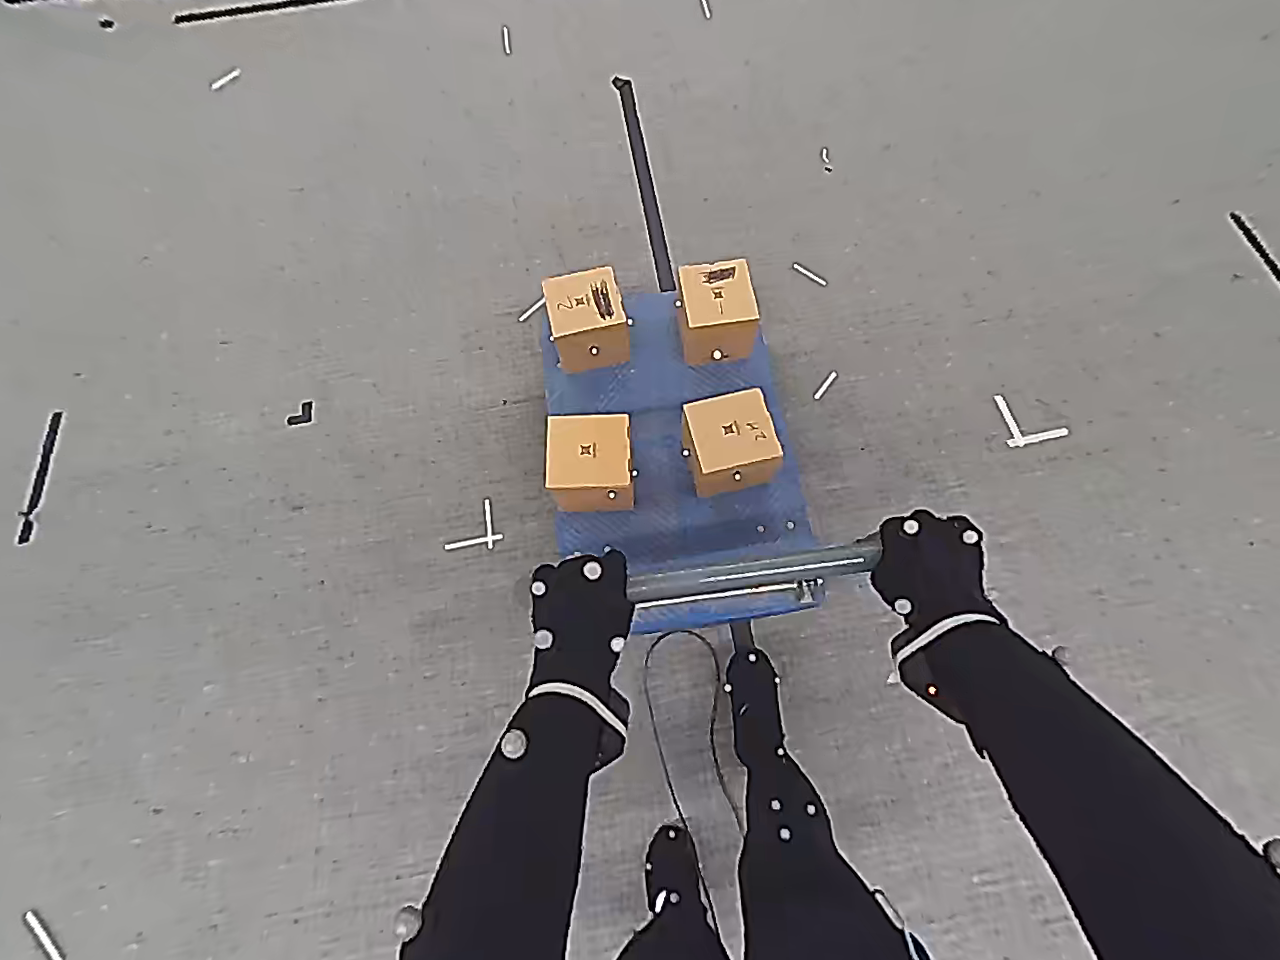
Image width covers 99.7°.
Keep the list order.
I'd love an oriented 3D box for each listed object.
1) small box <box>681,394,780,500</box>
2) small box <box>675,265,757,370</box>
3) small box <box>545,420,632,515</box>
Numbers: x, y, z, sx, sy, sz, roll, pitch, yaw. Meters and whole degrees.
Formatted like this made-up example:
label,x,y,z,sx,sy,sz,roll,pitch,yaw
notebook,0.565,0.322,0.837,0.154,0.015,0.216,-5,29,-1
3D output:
label,x,y,z,sx,sy,sz,roll,pitch,yaw
small box,0.195,-0.067,1.218,0.179,0.176,0.168,-13,70,-3
small box,0.180,-0.398,1.340,0.168,0.176,0.179,-8,71,-1
small box,-0.109,-0.023,1.212,0.179,0.176,0.168,-2,69,0
